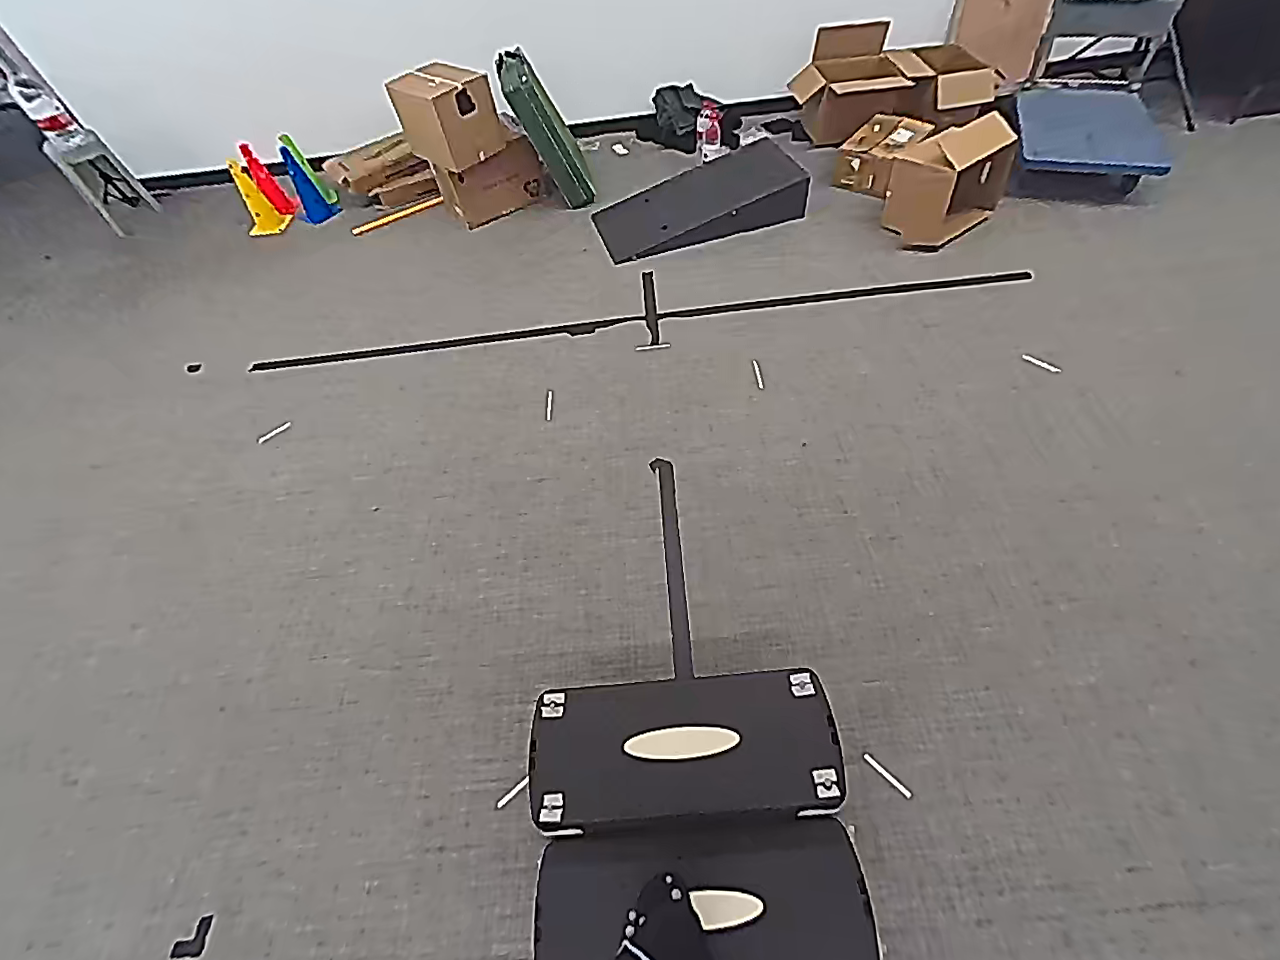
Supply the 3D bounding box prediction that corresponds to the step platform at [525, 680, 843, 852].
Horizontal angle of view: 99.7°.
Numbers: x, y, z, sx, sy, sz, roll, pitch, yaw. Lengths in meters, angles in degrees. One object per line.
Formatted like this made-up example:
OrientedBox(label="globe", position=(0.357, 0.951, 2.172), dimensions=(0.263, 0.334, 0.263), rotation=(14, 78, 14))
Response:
OrientedBox(label="step platform", position=(0.089, 0.639, 1.219), dimensions=(0.684, 0.204, 0.286), rotation=(-6, 54, 1))
